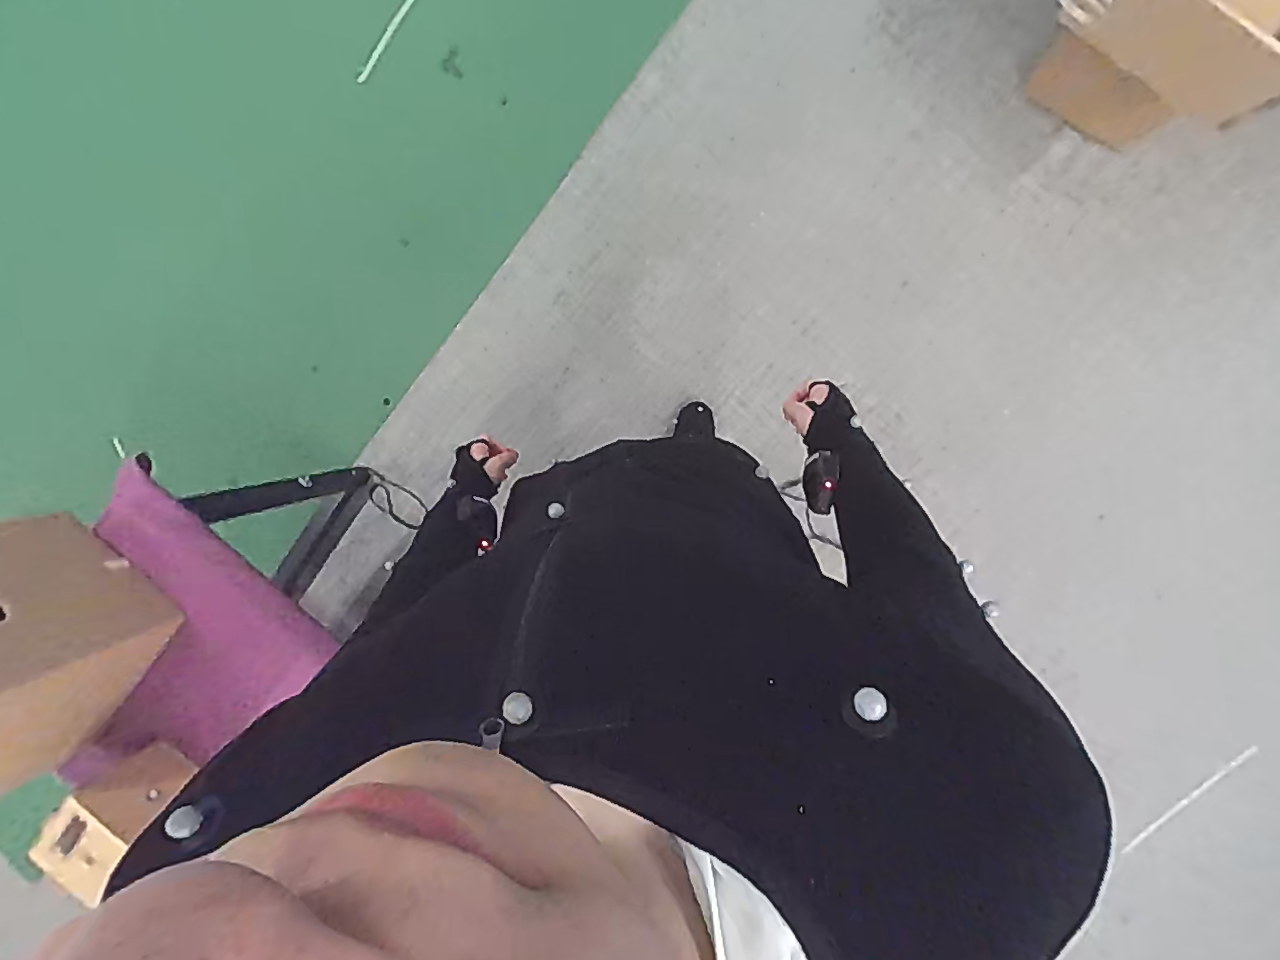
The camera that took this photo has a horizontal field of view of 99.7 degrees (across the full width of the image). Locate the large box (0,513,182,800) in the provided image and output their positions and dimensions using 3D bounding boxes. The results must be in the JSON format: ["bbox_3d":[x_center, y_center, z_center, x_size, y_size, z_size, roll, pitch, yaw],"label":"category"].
[{"bbox_3d":[-1.124,0.324,0.922,0.320,0.320,0.408,41,100,-1],"label":"large box"}]
